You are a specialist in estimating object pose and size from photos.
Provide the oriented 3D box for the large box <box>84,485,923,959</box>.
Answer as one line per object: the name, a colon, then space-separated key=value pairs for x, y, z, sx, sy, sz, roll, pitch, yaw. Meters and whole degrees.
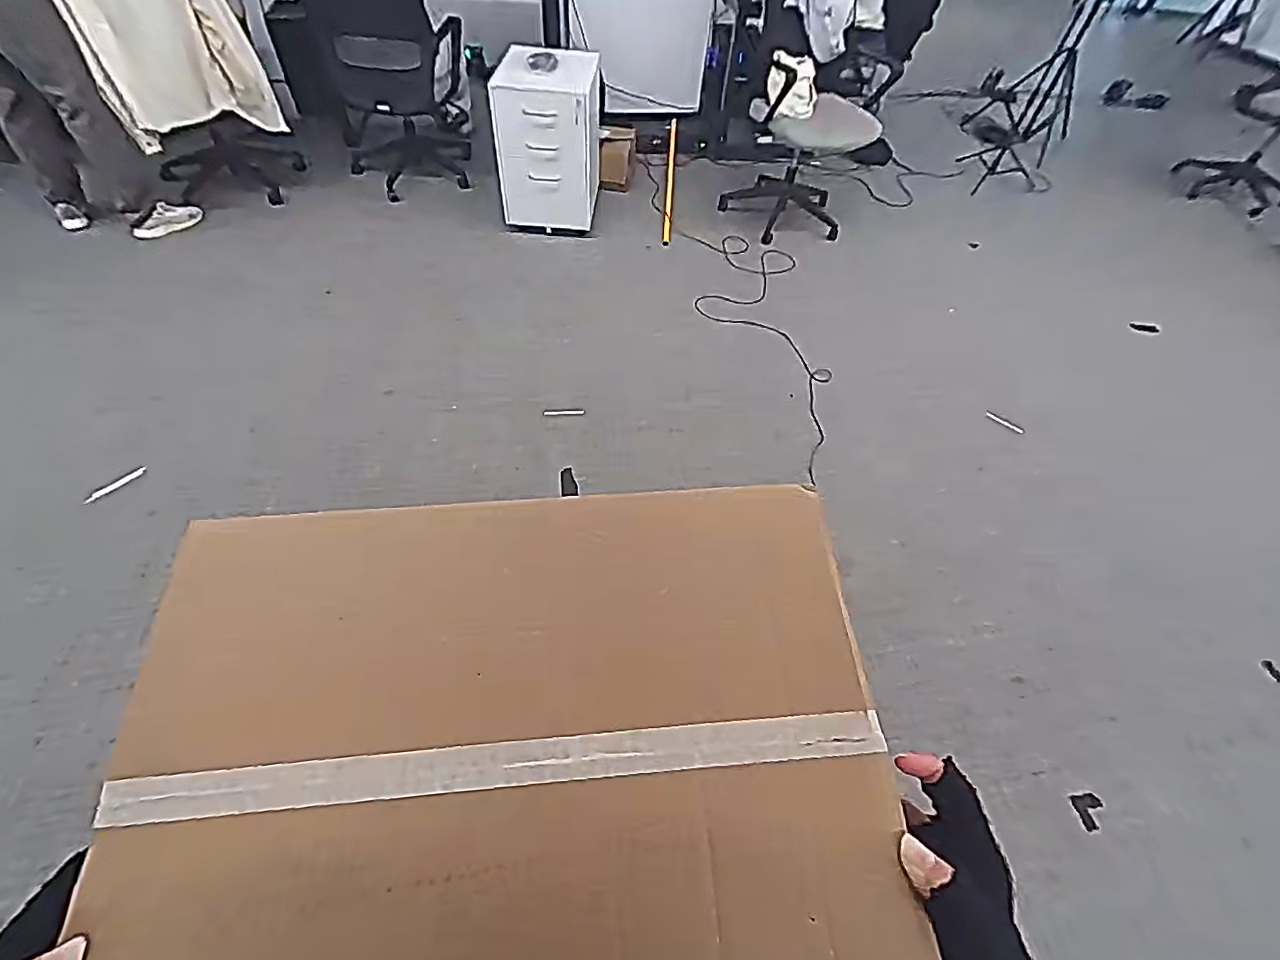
large box: x=-0.074 y=0.221 z=0.431 sx=0.408 sy=0.320 sz=0.320 roll=-3 pitch=63 yaw=-3
